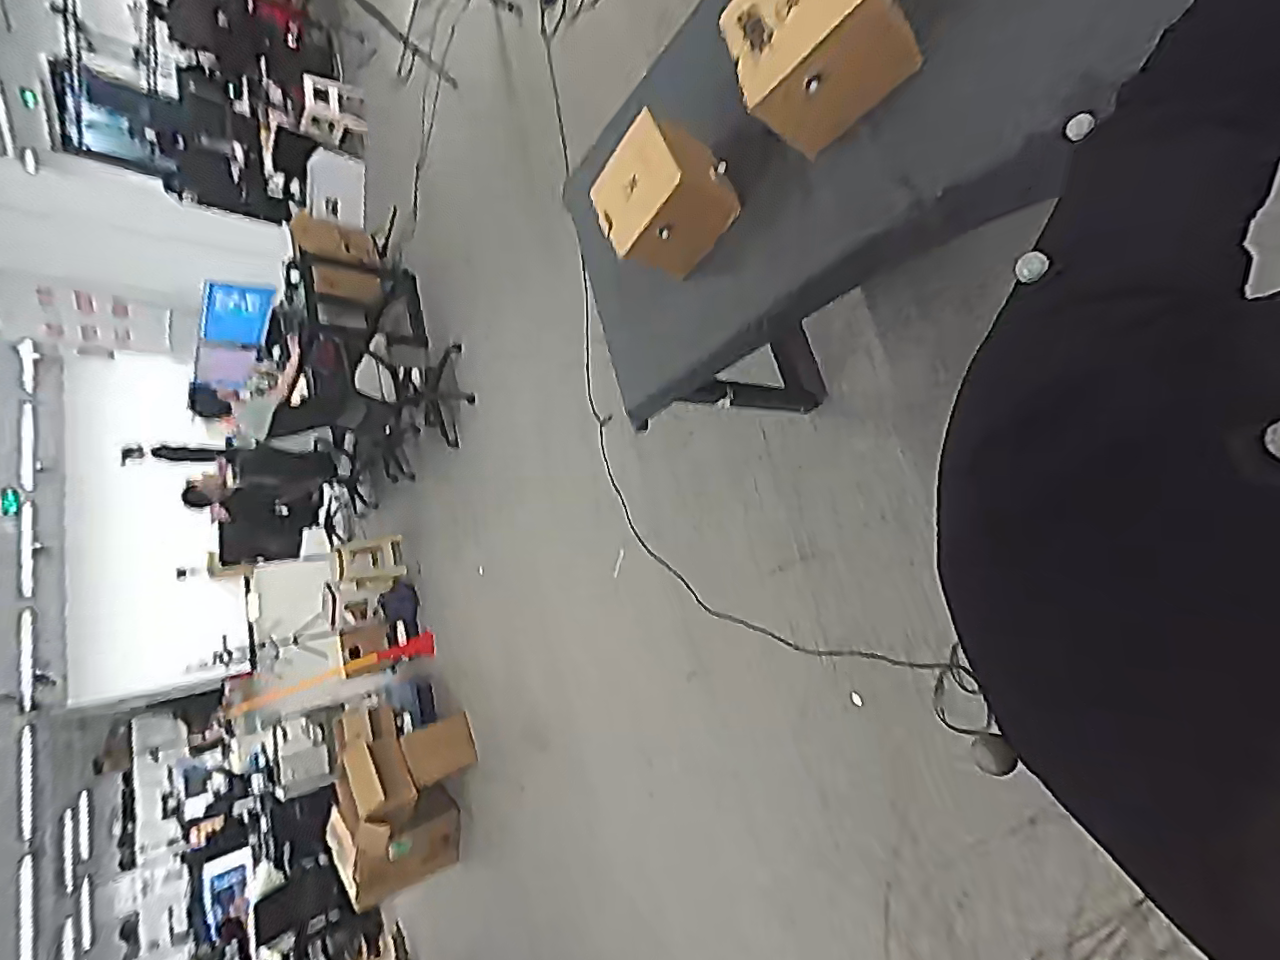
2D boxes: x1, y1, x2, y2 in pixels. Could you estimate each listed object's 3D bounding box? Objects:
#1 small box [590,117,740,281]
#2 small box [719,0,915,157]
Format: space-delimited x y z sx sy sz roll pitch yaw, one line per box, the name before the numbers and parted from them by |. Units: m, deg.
small box | 0.044 -0.488 0.970 0.179 0.176 0.168 -39 65 40
small box | 0.243 -0.596 0.749 0.179 0.176 0.168 -26 73 44
